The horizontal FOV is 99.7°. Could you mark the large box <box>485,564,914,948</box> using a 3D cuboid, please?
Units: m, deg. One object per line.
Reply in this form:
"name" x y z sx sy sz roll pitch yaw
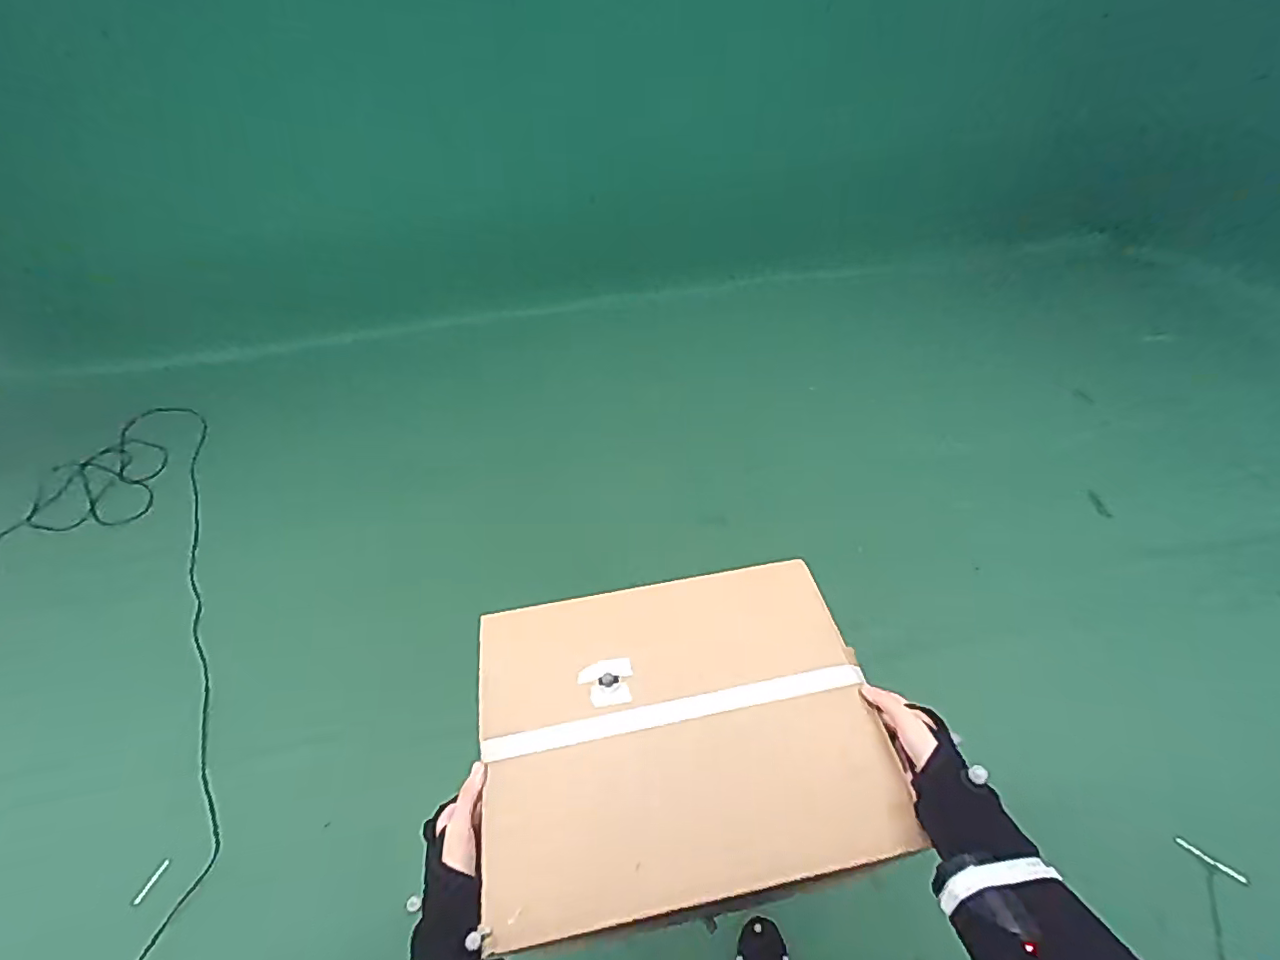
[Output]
"large box" 0.042 0.348 0.691 0.408 0.320 0.320 -9 49 -5
